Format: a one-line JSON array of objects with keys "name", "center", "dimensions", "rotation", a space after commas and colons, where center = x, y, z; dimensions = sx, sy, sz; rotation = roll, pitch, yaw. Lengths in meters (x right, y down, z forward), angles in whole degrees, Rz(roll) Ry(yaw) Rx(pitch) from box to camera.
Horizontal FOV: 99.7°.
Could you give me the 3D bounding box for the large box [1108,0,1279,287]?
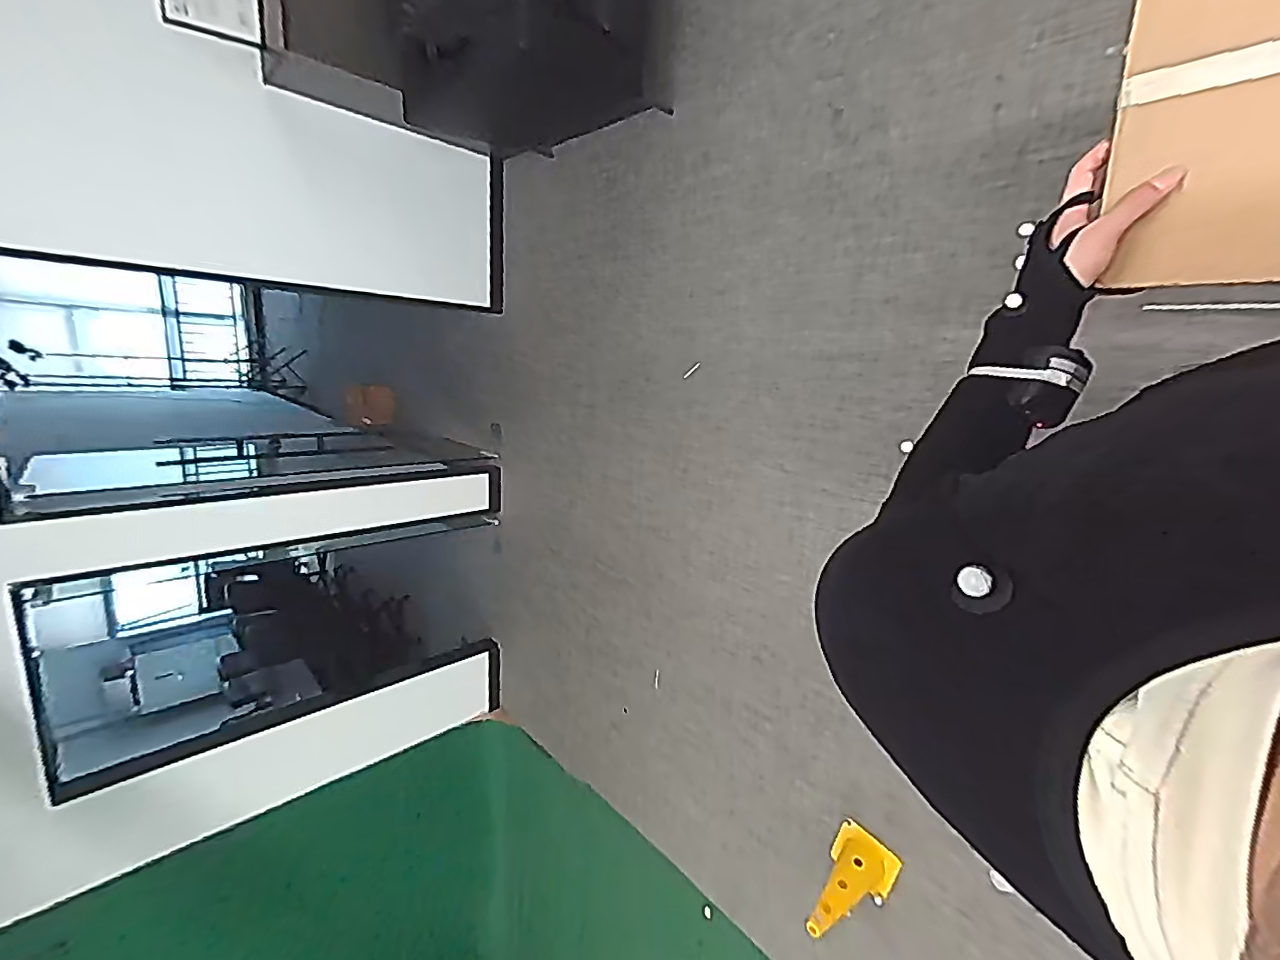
[{"name": "large box", "center": [0.657, -0.337, 0.405], "dimensions": [0.408, 0.320, 0.320], "rotation": [15, 120, 45]}]
